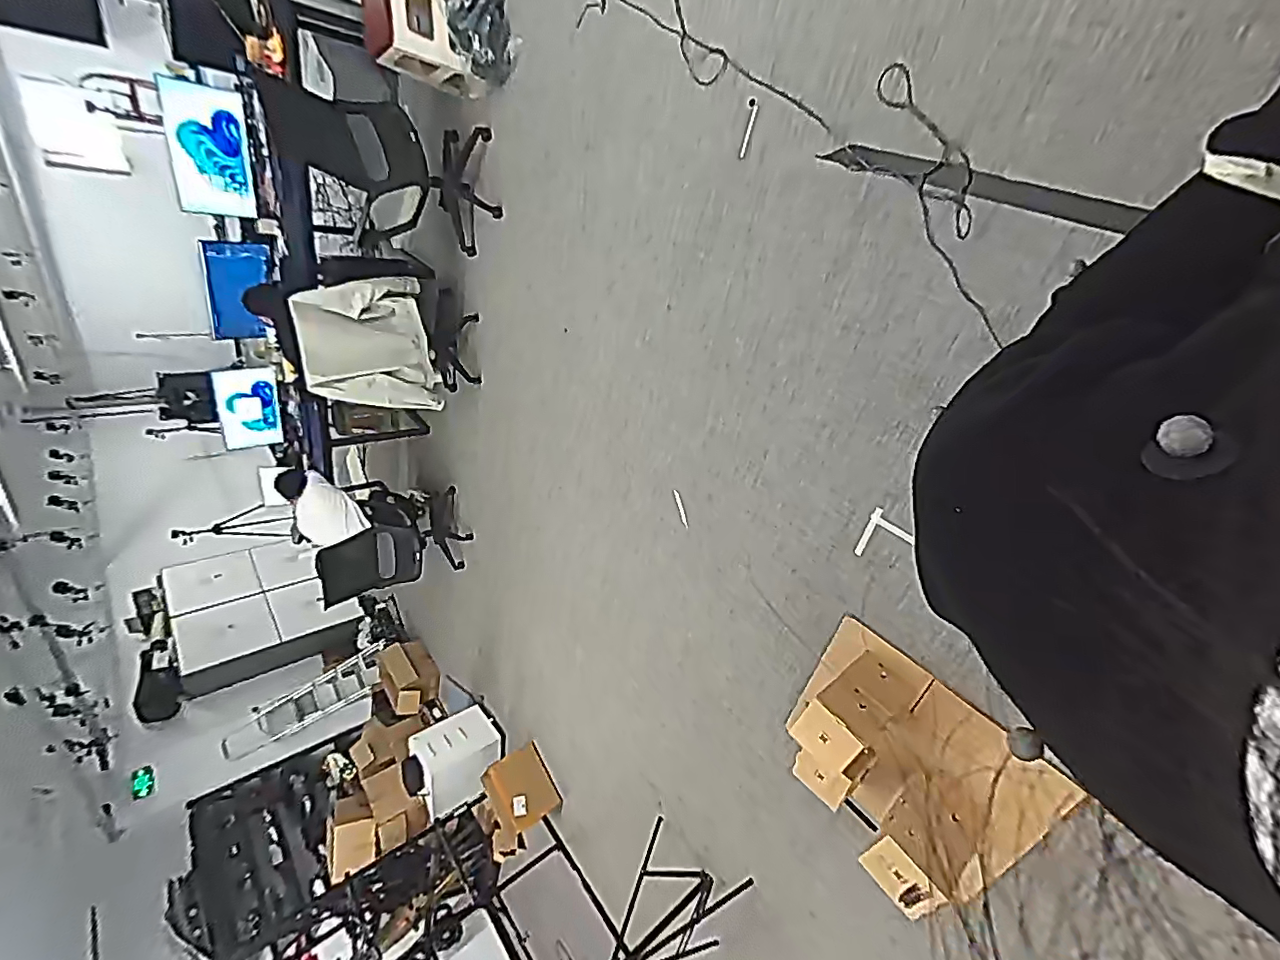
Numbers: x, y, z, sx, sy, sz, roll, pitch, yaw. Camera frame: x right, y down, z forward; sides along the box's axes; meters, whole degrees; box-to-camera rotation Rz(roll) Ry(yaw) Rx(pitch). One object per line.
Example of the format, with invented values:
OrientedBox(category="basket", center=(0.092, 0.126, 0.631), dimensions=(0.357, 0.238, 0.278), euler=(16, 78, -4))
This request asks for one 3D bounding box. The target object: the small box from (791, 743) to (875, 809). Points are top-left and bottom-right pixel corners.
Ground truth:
OrientedBox(category="small box", center=(0.639, 0.928, 1.791), dimensions=(0.179, 0.176, 0.168), euler=(35, 127, 38))

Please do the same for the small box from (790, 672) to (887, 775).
OrientedBox(category="small box", center=(0.568, 0.689, 1.543), dimensions=(0.168, 0.176, 0.179), euler=(42, 129, 33))

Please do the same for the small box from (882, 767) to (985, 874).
OrientedBox(category="small box", center=(0.848, 0.976, 1.560), dimensions=(0.179, 0.176, 0.168), euler=(46, 132, 28))
